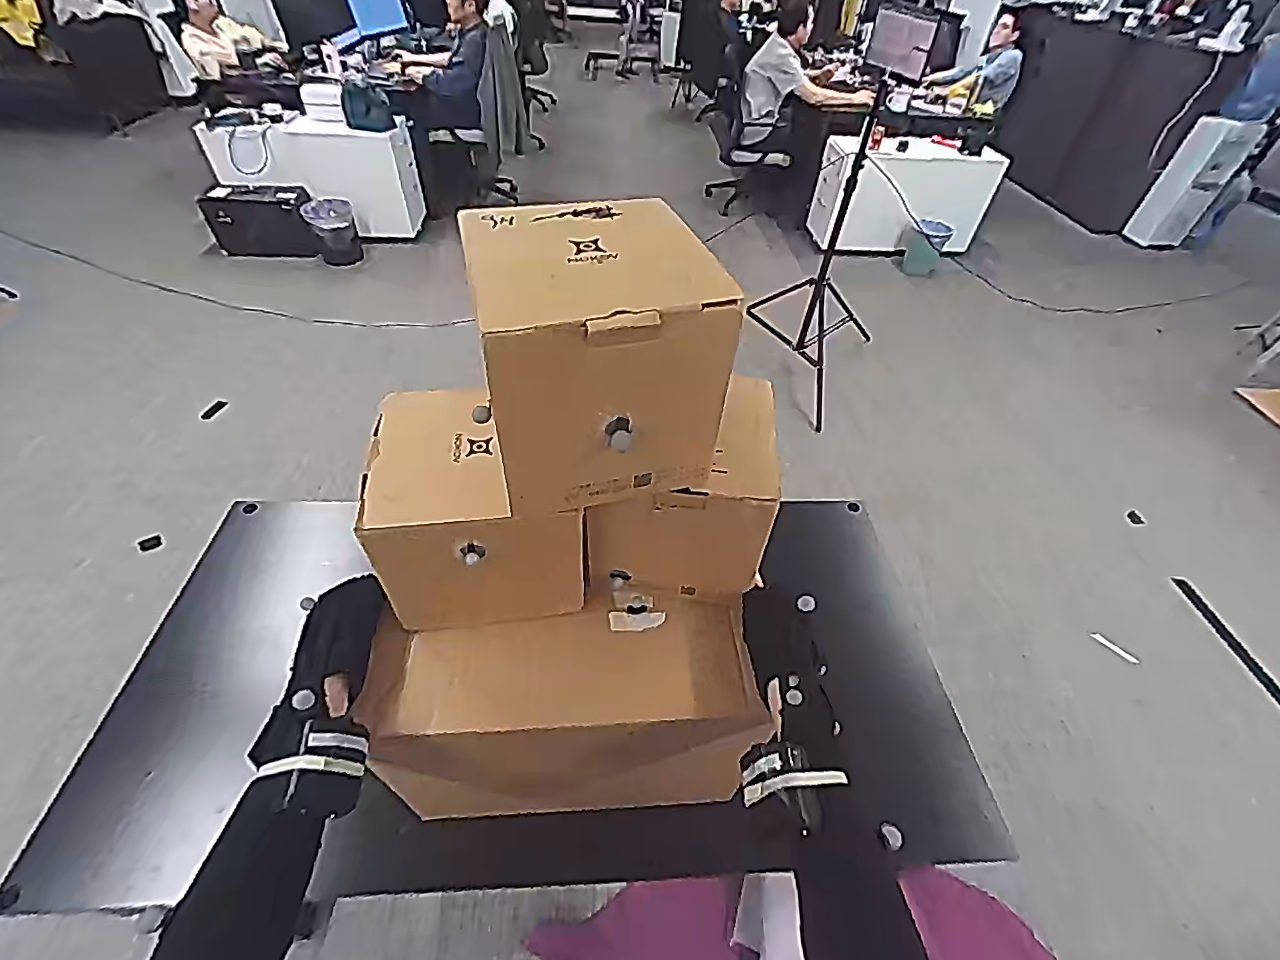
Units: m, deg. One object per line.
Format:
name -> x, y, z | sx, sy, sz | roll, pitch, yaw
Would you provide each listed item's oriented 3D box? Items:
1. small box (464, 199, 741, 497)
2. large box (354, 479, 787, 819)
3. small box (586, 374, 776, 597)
small box -> -0.038, -0.102, 0.437 | 0.168, 0.176, 0.179 | -10, 49, -14
large box -> -0.080, 0.209, 0.699 | 0.408, 0.320, 0.320 | -1, 47, -6
small box -> 0.042, 0.002, 0.569 | 0.168, 0.176, 0.179 | 7, 45, 3
